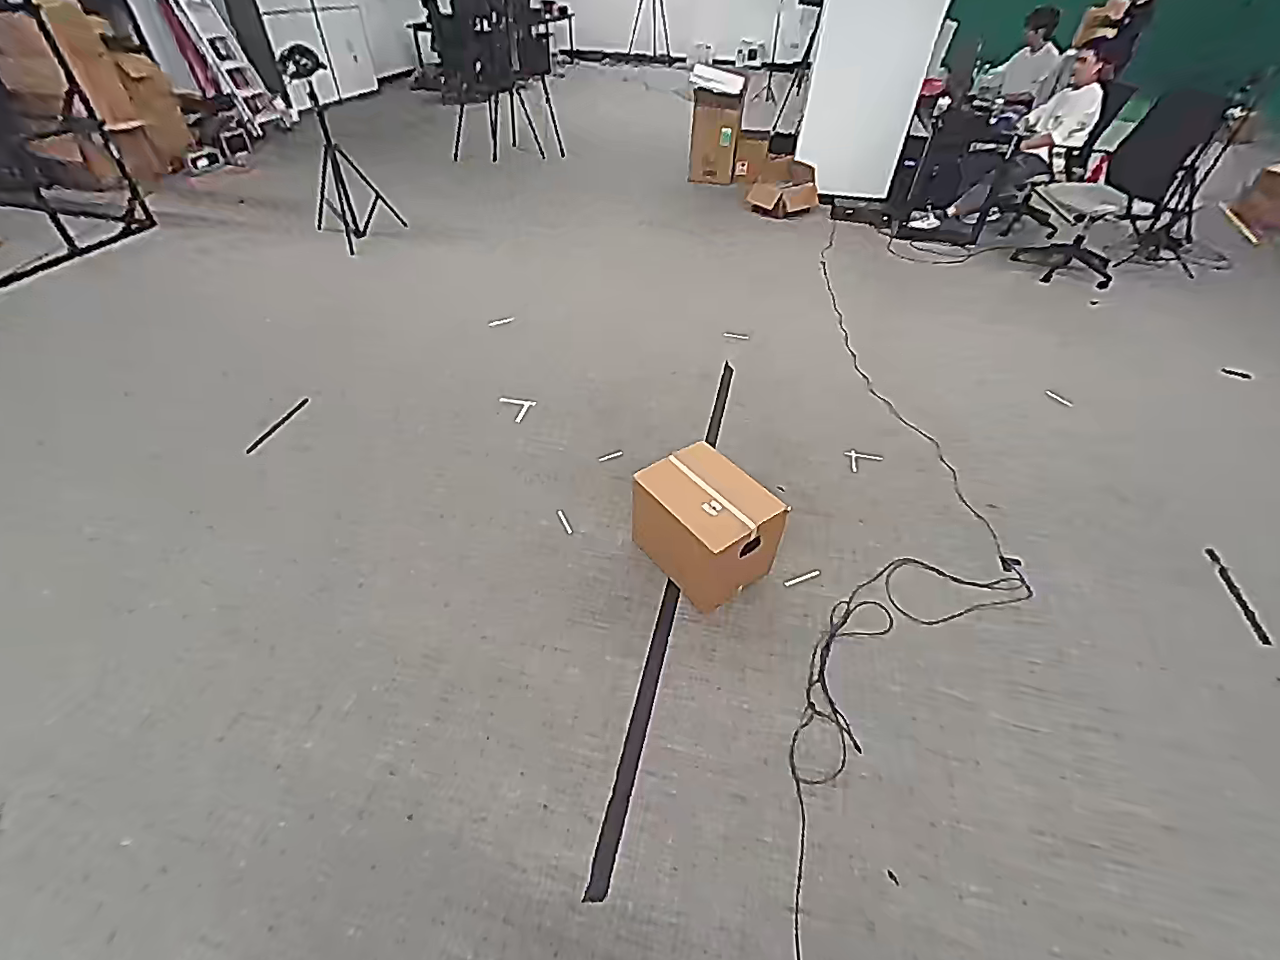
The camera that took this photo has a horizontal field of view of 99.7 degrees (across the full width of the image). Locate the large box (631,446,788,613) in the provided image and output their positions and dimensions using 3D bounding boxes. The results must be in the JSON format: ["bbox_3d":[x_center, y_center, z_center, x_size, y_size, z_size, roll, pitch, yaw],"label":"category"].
[{"bbox_3d":[0.212,0.155,1.812,0.320,0.320,0.408,-26,51,-27],"label":"large box"}]
